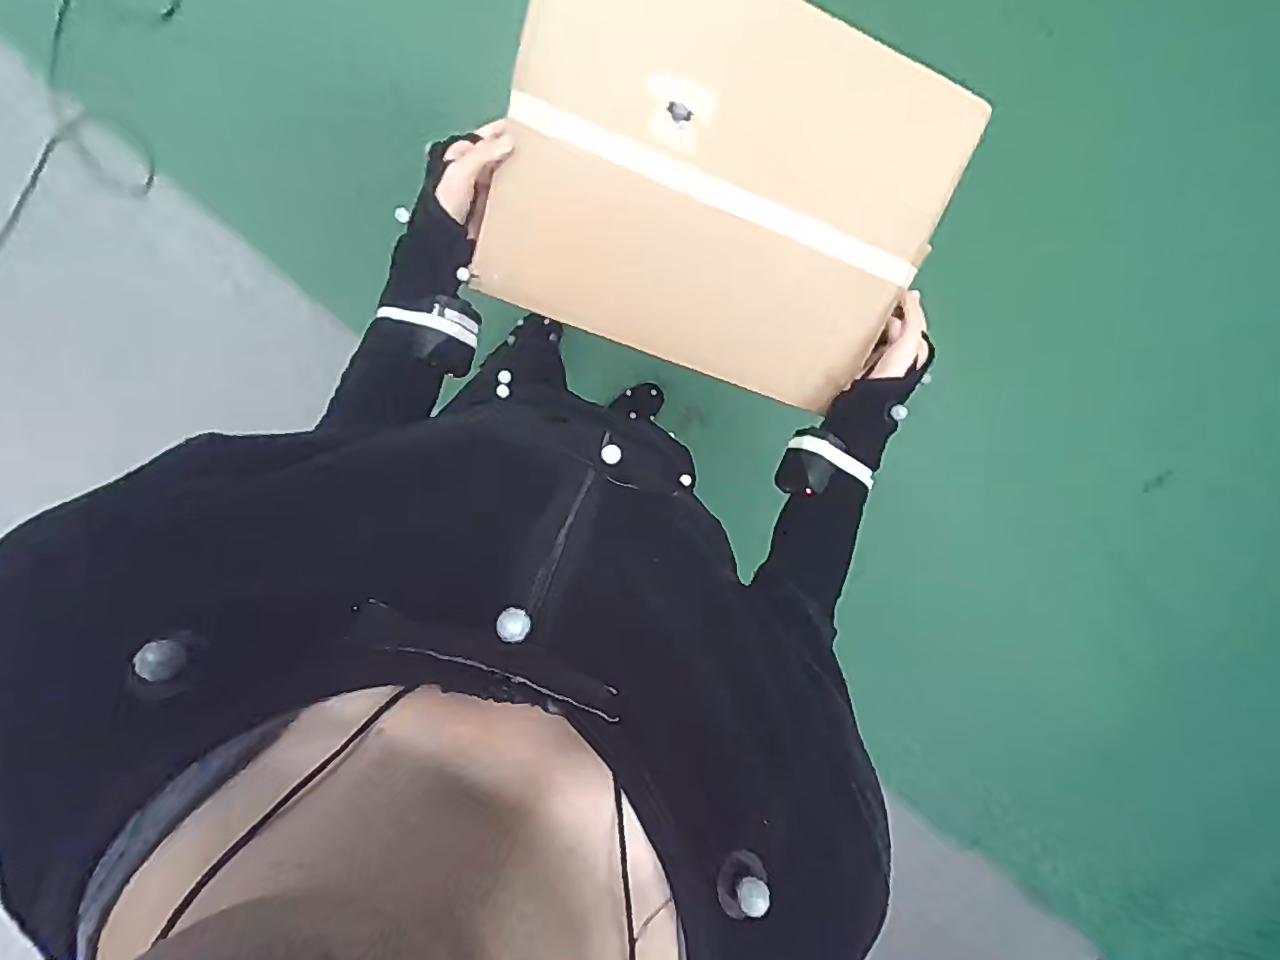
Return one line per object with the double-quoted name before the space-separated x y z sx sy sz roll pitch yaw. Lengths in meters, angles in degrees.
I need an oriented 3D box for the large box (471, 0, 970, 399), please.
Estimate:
"large box" 0.060 -0.334 0.646 0.408 0.320 0.320 17 111 -11
